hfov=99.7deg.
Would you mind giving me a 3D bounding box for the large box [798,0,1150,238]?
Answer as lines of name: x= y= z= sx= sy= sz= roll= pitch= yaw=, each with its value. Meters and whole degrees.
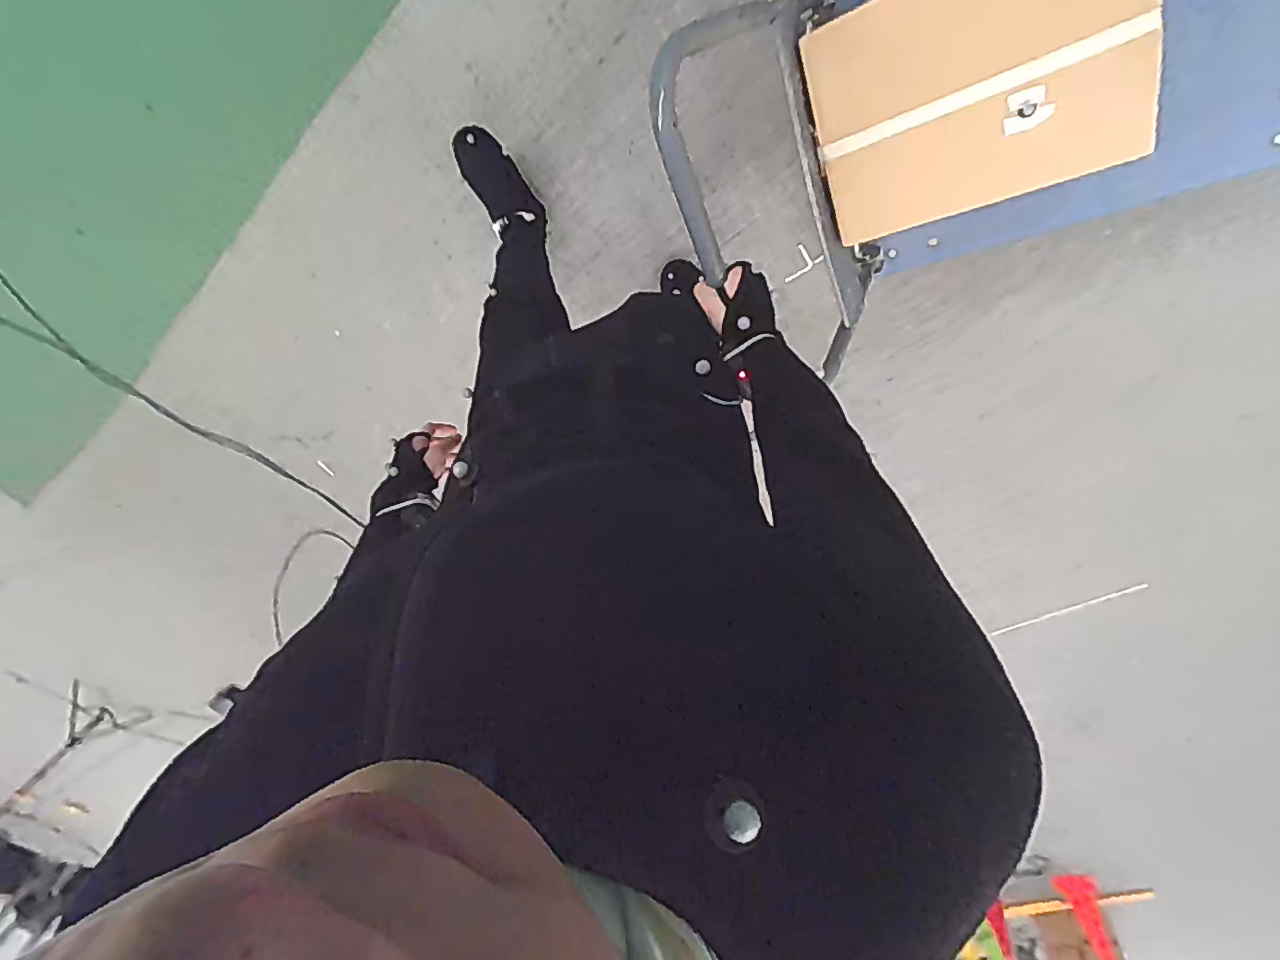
large box: x=0.510 y=-0.649 z=0.871 sx=0.408 sy=0.320 sz=0.320 roll=-7 pitch=126 yaw=31
